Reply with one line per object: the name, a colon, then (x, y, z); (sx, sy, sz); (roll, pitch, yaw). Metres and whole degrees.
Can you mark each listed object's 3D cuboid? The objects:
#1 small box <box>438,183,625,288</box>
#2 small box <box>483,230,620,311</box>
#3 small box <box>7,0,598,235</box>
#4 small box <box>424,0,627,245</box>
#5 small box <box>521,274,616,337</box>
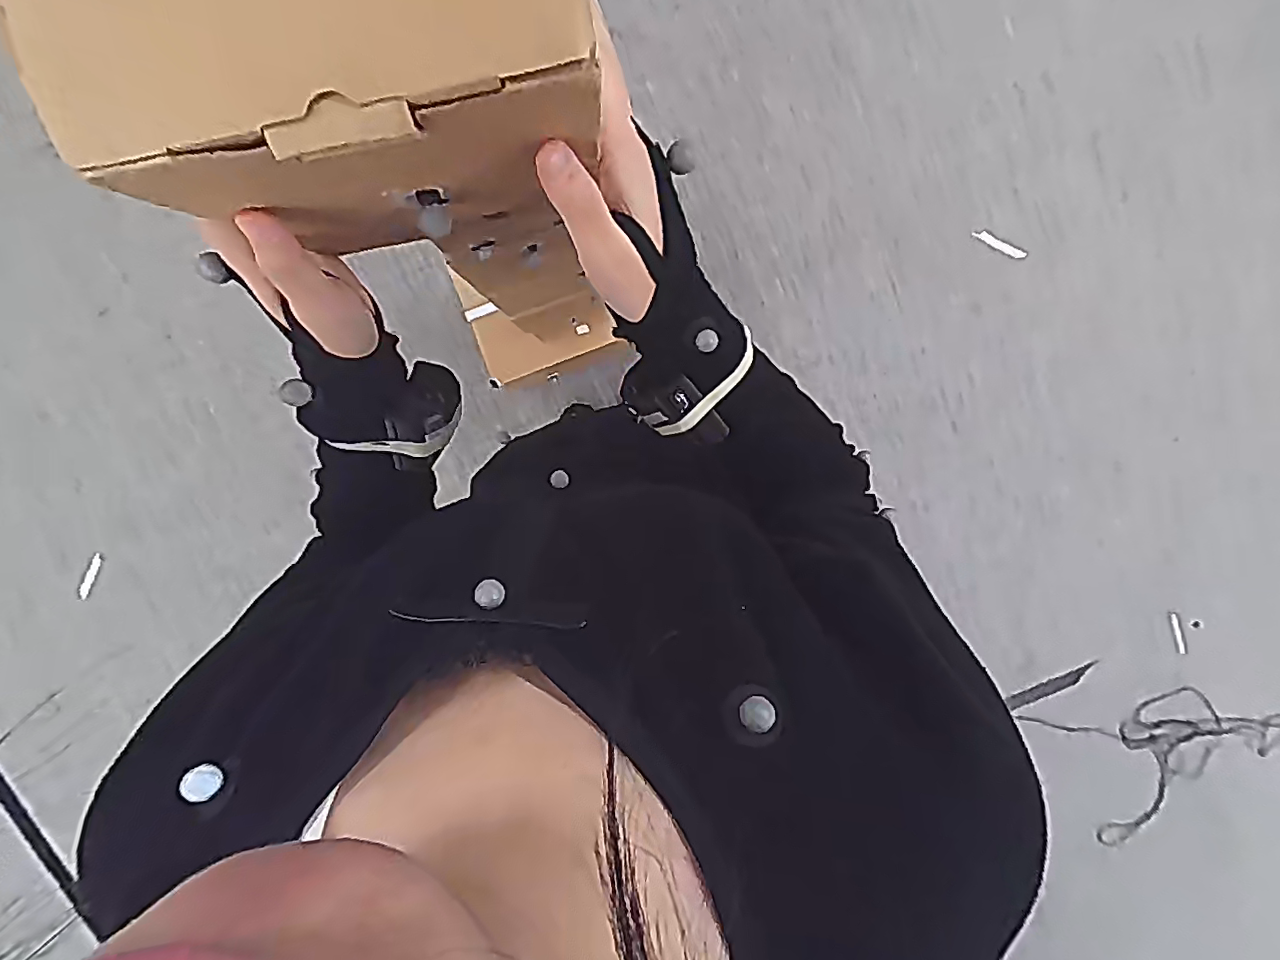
small box: (-0.127, -0.317, 0.561); (0.179, 0.176, 0.168); (-19, 100, -1)
small box: (-0.137, -0.340, 0.720); (0.179, 0.176, 0.168); (-20, 99, -1)
small box: (-0.113, -0.211, 0.222); (0.168, 0.176, 0.179); (-12, 106, 0)
small box: (-0.113, -0.293, 0.399); (0.168, 0.176, 0.179); (-19, 99, -1)
small box: (-0.157, -0.389, 1.045); (0.179, 0.176, 0.168); (-24, 100, -1)
